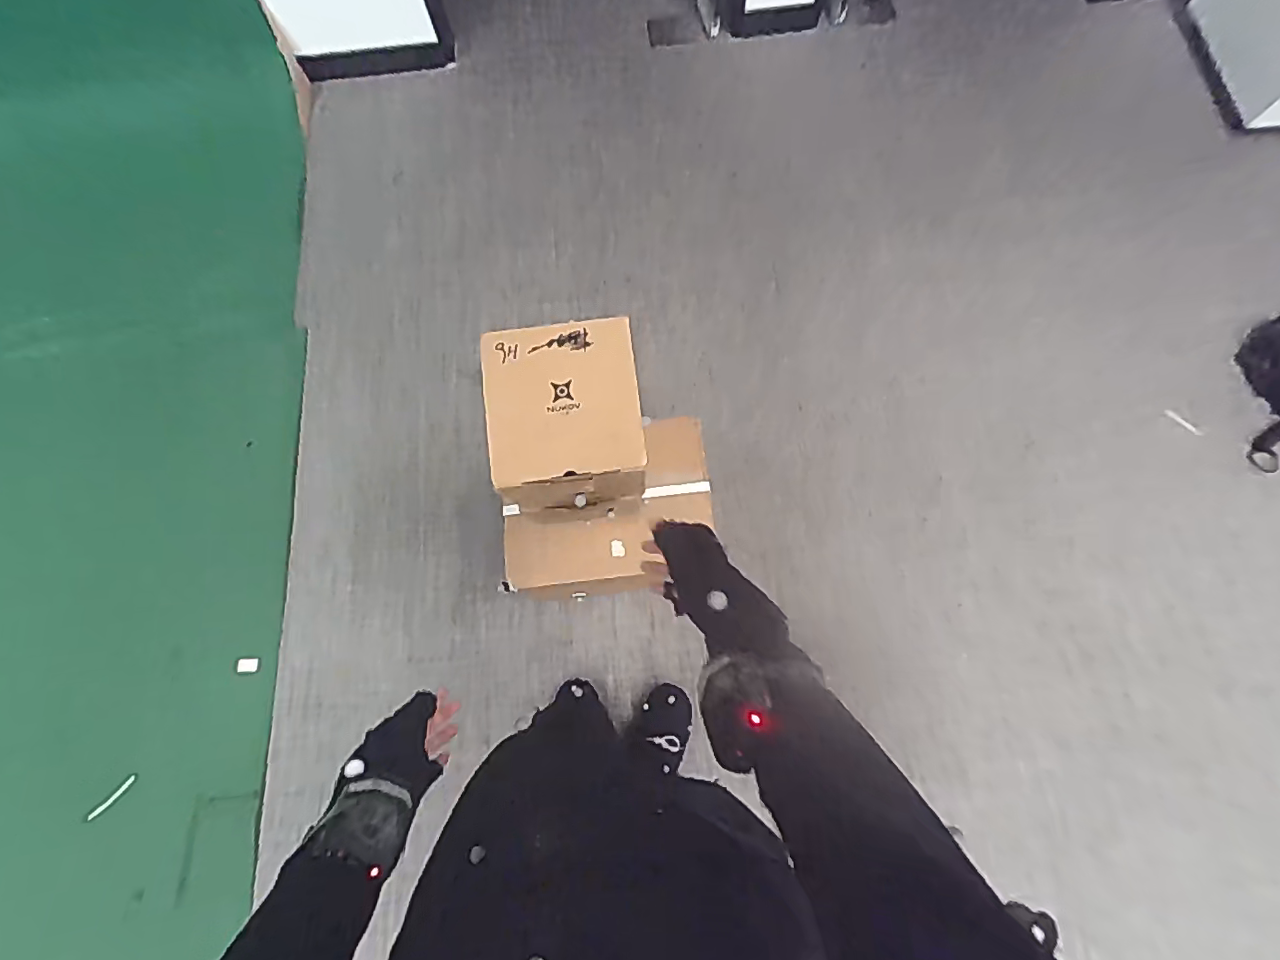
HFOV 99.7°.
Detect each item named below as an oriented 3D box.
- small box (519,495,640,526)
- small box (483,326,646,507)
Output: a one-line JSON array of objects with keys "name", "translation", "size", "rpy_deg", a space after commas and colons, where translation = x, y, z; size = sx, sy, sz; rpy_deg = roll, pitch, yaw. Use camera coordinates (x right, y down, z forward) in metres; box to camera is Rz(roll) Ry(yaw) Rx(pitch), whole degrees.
[{"name": "small box", "translation": [-0.091, -0.028, 0.822], "size": [0.168, 0.176, 0.179], "rpy_deg": [-8, 78, -2]}, {"name": "small box", "translation": [-0.083, -0.064, 0.663], "size": [0.168, 0.176, 0.179], "rpy_deg": [-7, 80, -2]}]
